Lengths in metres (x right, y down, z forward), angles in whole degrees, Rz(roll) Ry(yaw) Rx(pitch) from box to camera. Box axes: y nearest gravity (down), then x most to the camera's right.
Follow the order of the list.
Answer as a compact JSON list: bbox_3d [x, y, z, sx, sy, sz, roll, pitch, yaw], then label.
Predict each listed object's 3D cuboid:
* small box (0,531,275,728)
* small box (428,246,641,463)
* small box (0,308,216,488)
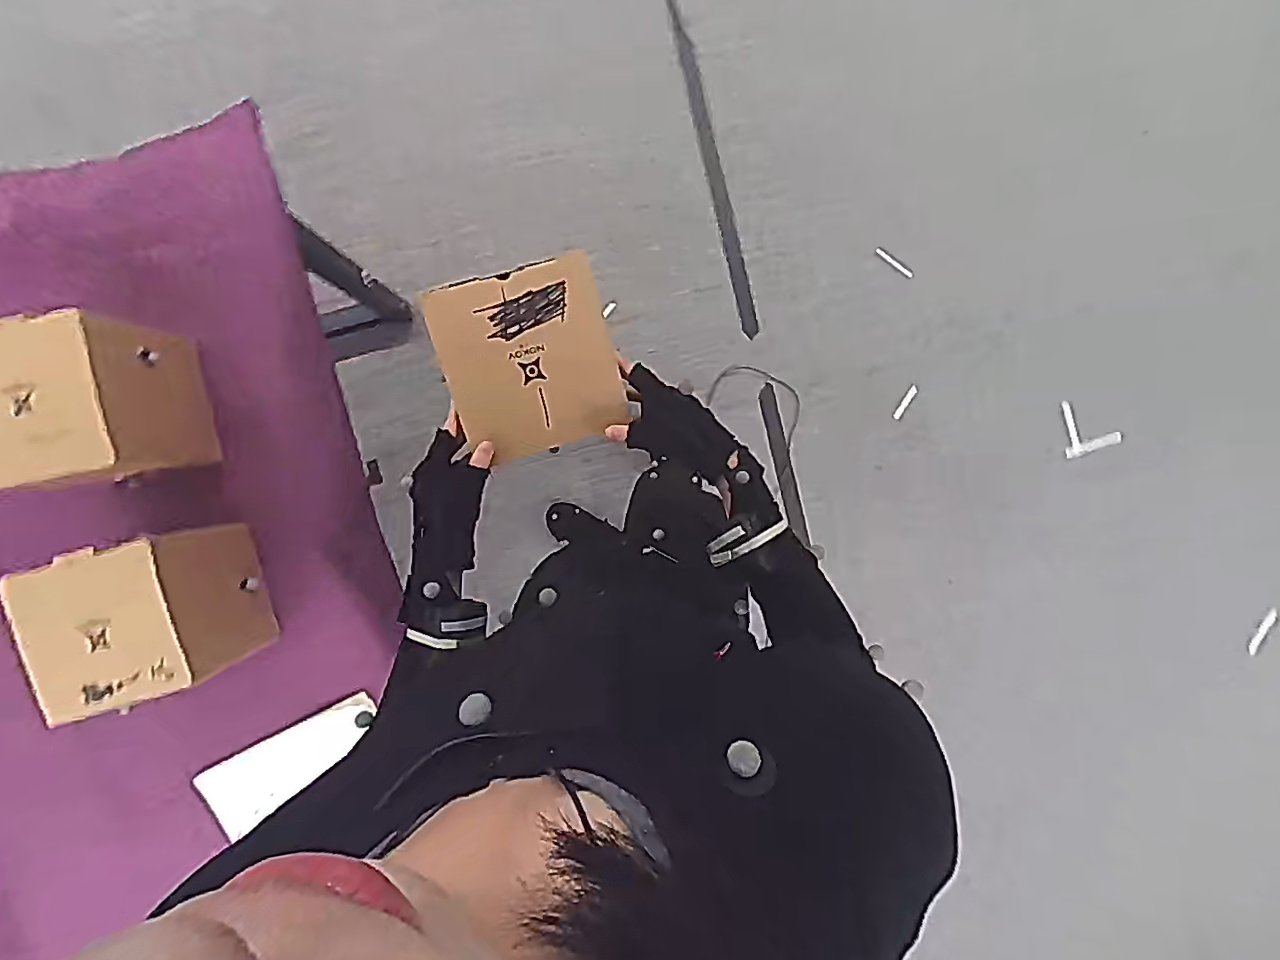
[{"bbox_3d":[-0.602,0.167,0.670,0.168,0.176,0.179,-15,92,-2],"label":"small box"},{"bbox_3d":[-0.110,-0.130,0.593,0.168,0.176,0.179,-16,101,-6],"label":"small box"},{"bbox_3d":[-0.673,-0.089,0.659,0.168,0.176,0.179,-11,94,-1],"label":"small box"}]
